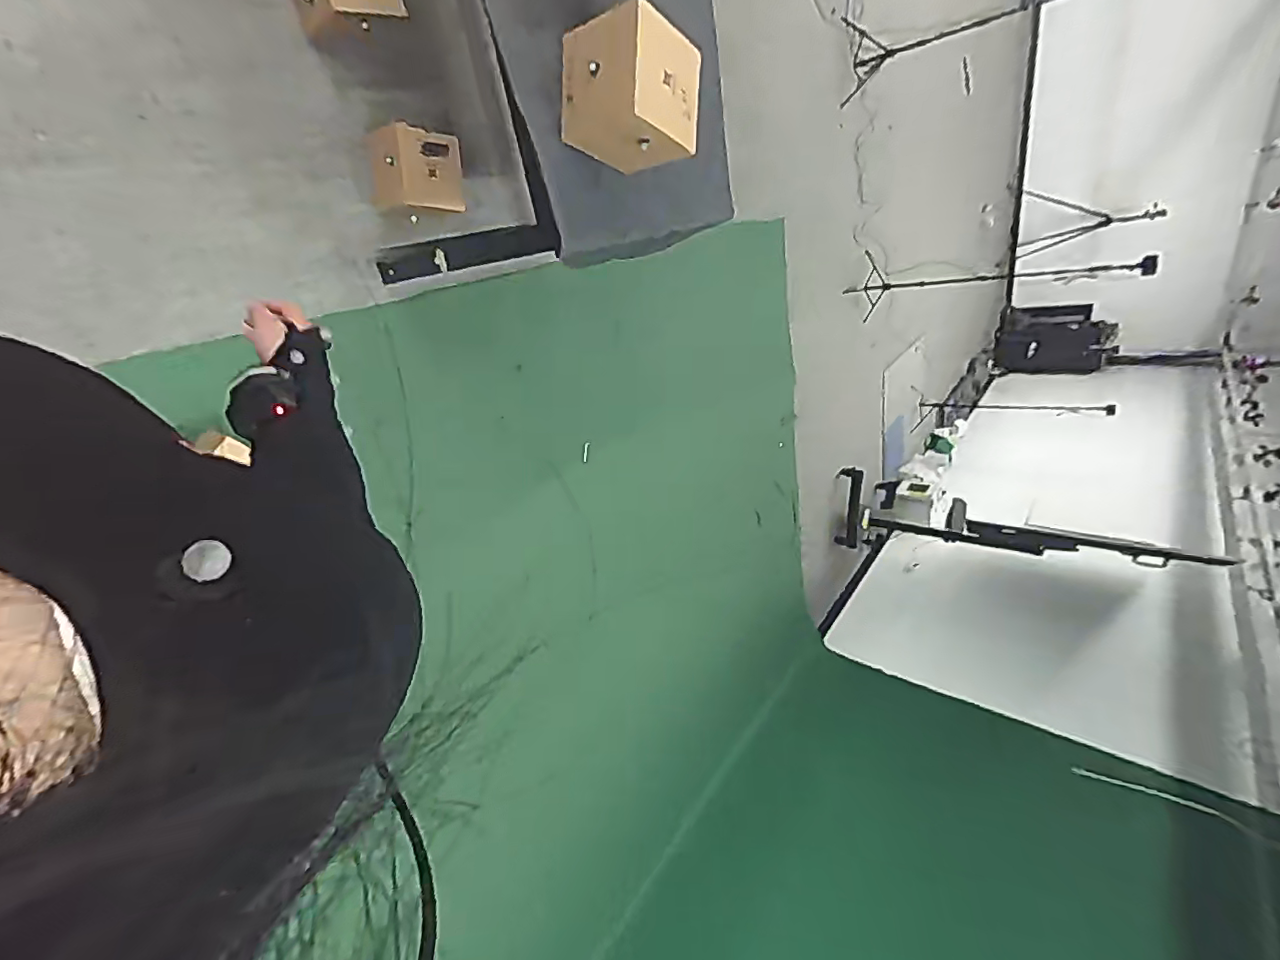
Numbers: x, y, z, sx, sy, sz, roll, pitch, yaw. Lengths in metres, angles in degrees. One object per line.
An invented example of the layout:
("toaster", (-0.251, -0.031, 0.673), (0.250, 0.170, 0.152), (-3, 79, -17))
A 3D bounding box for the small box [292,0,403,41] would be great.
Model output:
("small box", (-0.673, -1.108, 1.203), (0.179, 0.176, 0.168), (-38, 126, -40))

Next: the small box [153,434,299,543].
("small box", (-0.904, 0.012, 1.184), (0.179, 0.176, 0.168), (48, 62, -45))

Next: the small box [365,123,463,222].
("small box", (-0.581, -0.779, 1.387), (0.168, 0.176, 0.179), (-19, 114, -46))

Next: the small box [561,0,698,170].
("small box", (-0.020, -0.661, 0.932), (0.179, 0.176, 0.168), (-9, 105, -51))
